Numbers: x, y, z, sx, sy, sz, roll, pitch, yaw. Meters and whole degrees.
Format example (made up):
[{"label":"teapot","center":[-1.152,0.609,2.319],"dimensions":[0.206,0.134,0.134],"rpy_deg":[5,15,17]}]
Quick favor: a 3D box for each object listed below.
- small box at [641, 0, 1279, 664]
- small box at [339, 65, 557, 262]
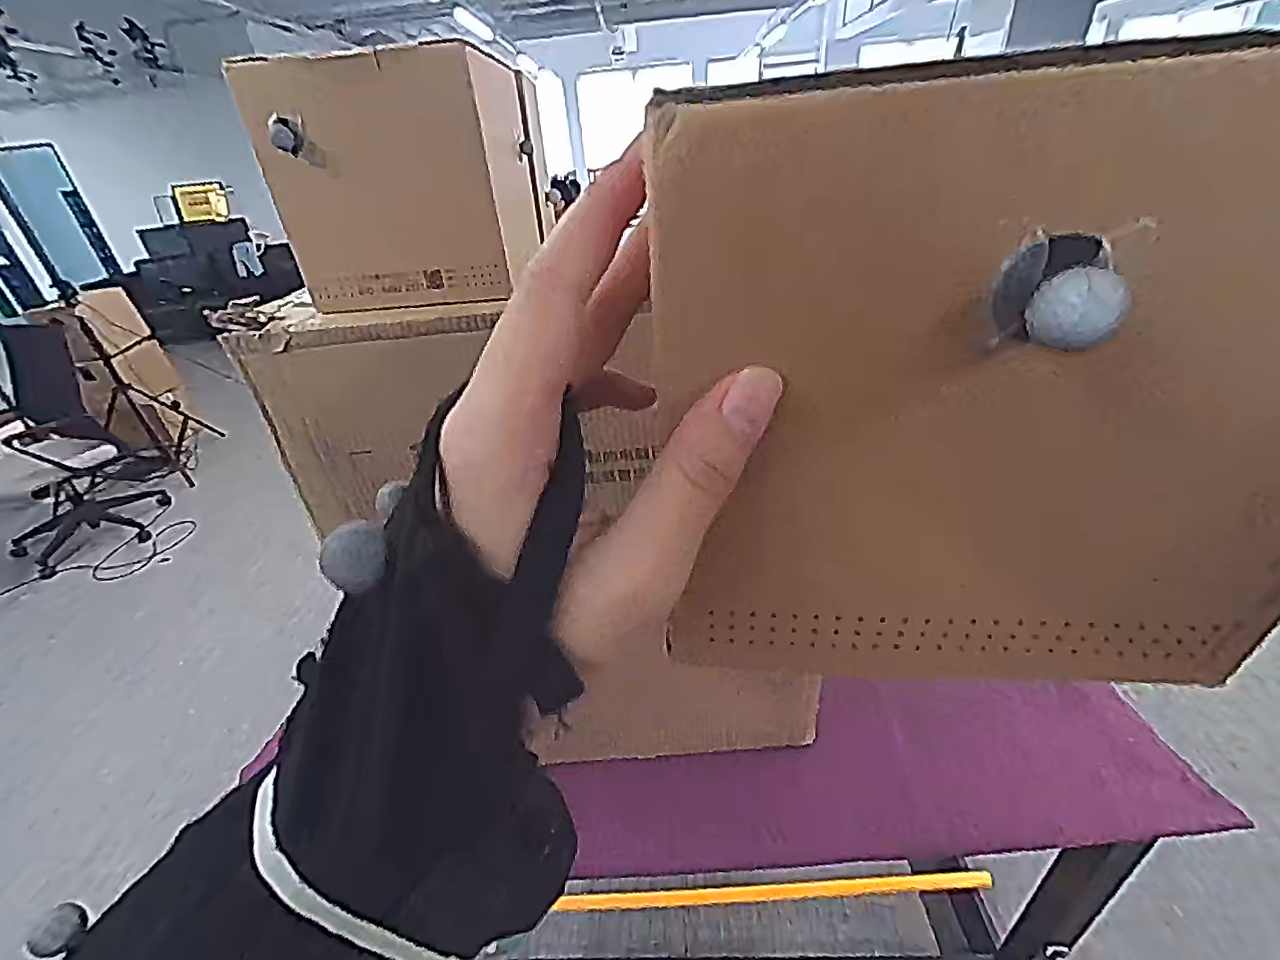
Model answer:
[{"label":"small box","center":[0.099,-0.052,0.195],"dimensions":[0.179,0.176,0.168],"rpy_deg":[-1,35,7]},{"label":"small box","center":[-0.199,-0.354,0.620],"dimensions":[0.179,0.176,0.168],"rpy_deg":[-5,32,-1]}]
